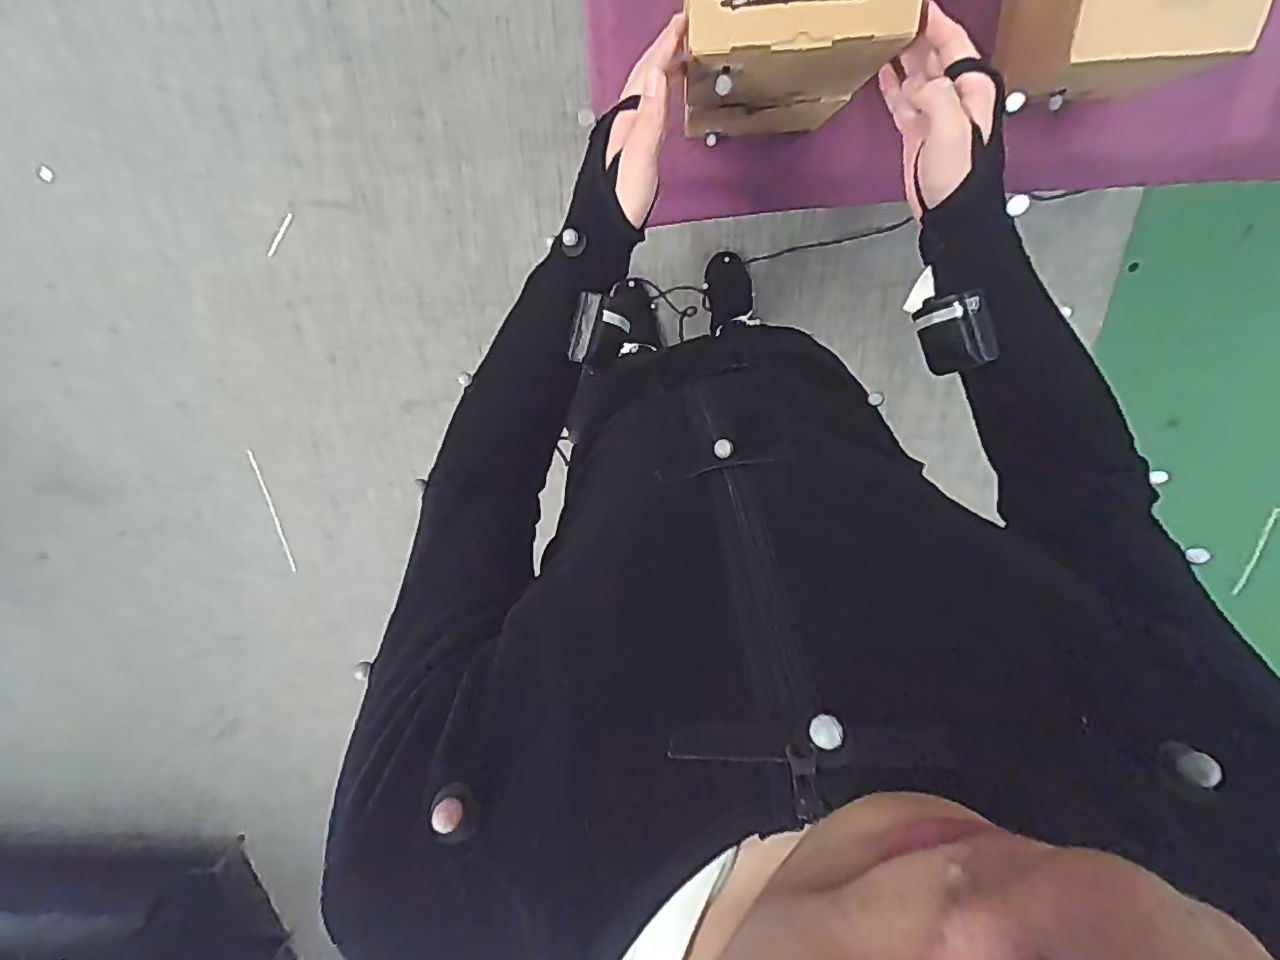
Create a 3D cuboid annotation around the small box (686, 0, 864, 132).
[{"bbox_3d":[0.136,-0.491,0.586,0.168,0.176,0.179,-1,113,4],"label":"small box"}]
